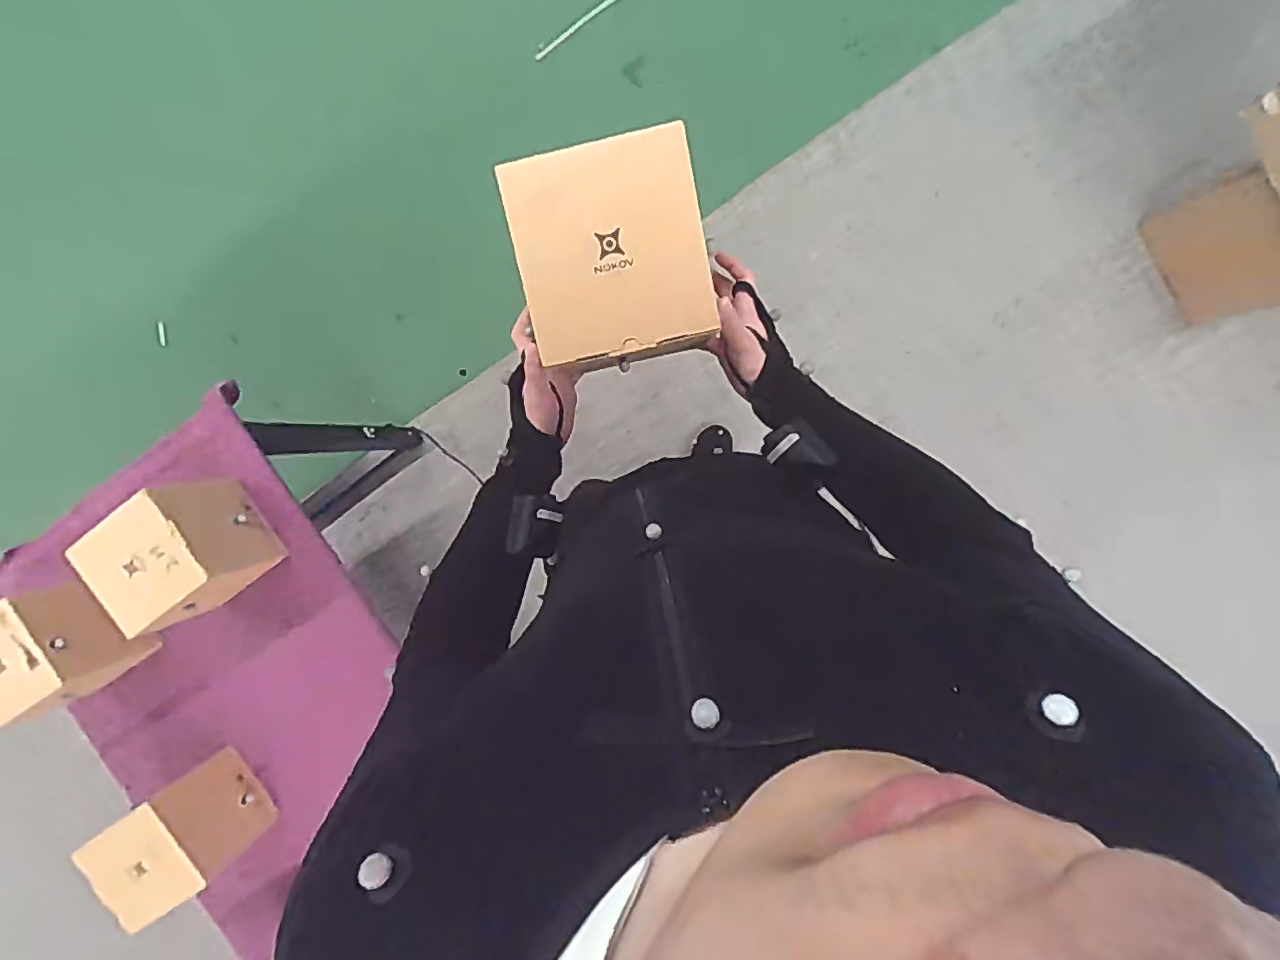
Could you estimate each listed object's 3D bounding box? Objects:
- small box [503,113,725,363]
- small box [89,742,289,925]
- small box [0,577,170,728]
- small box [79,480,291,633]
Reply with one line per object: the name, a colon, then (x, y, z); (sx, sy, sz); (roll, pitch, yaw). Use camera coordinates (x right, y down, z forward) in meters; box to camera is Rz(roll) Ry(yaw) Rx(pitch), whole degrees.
small box: (-0.021, -0.221, 0.544); (0.168, 0.176, 0.179); (-12, 101, 3)
small box: (-0.777, 0.609, 0.951); (0.179, 0.176, 0.168); (-35, 91, 7)
small box: (-0.994, 0.287, 0.945); (0.179, 0.176, 0.168); (-33, 92, 8)
small box: (-0.739, 0.117, 0.898); (0.179, 0.176, 0.168); (-35, 92, 8)
